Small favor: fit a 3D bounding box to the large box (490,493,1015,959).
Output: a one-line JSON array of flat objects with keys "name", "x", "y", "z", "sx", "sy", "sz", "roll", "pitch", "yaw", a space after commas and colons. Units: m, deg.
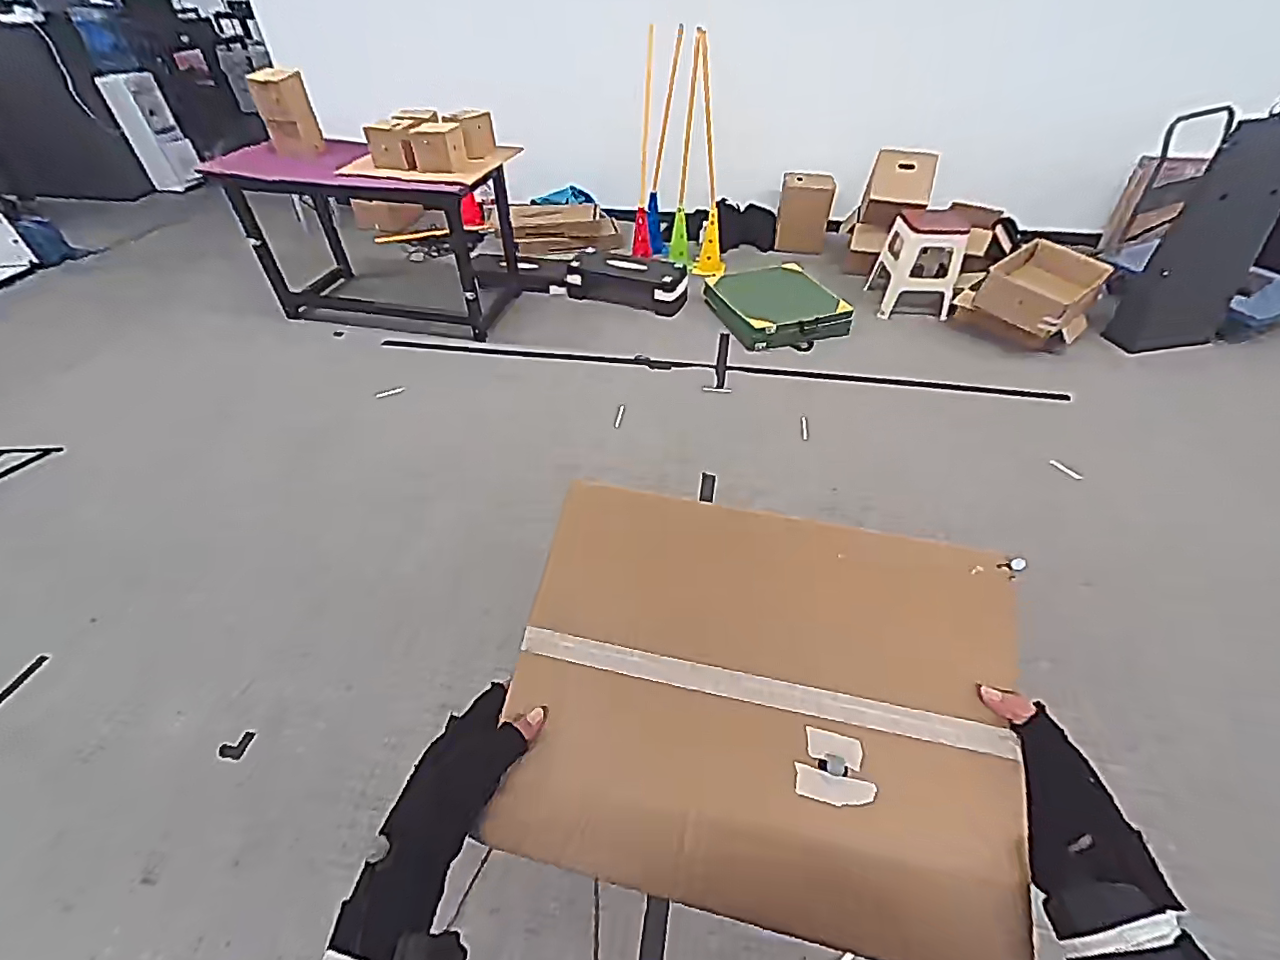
[{"name": "large box", "x": 0.108, "y": 0.240, "z": 0.601, "sx": 0.408, "sy": 0.320, "sz": 0.320, "roll": 10, "pitch": 67, "yaw": 8}]
